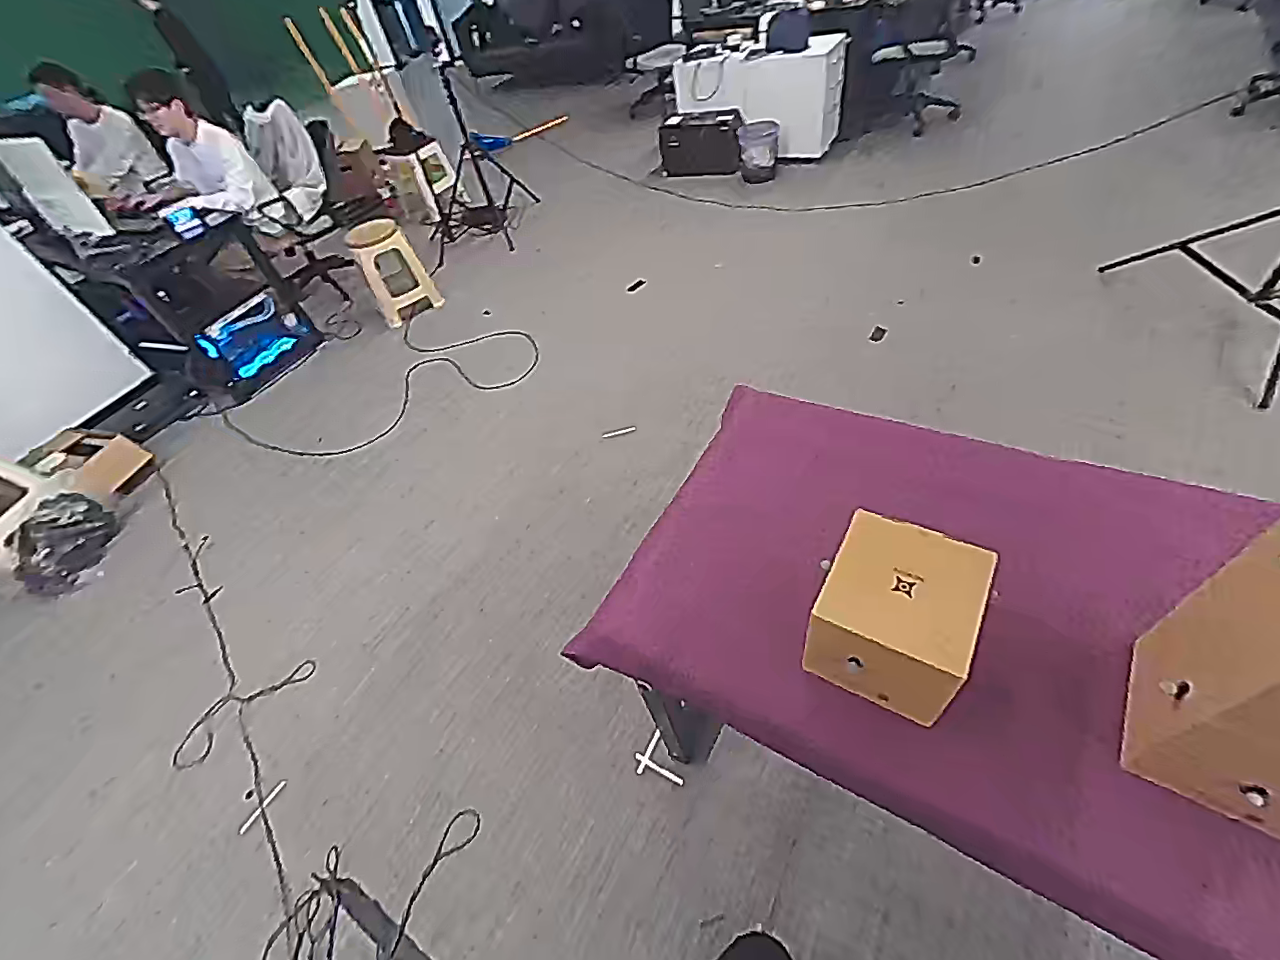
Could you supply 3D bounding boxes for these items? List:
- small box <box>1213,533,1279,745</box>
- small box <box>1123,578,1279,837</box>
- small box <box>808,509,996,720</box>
[{"bbox_3d":[0.625,0.133,0.441,0.168,0.176,0.179,21,57,28],"label":"small box"},{"bbox_3d":[0.647,0.242,0.561,0.168,0.176,0.179,22,57,28],"label":"small box"},{"bbox_3d":[0.325,0.173,0.695,0.168,0.176,0.179,20,55,27],"label":"small box"}]
